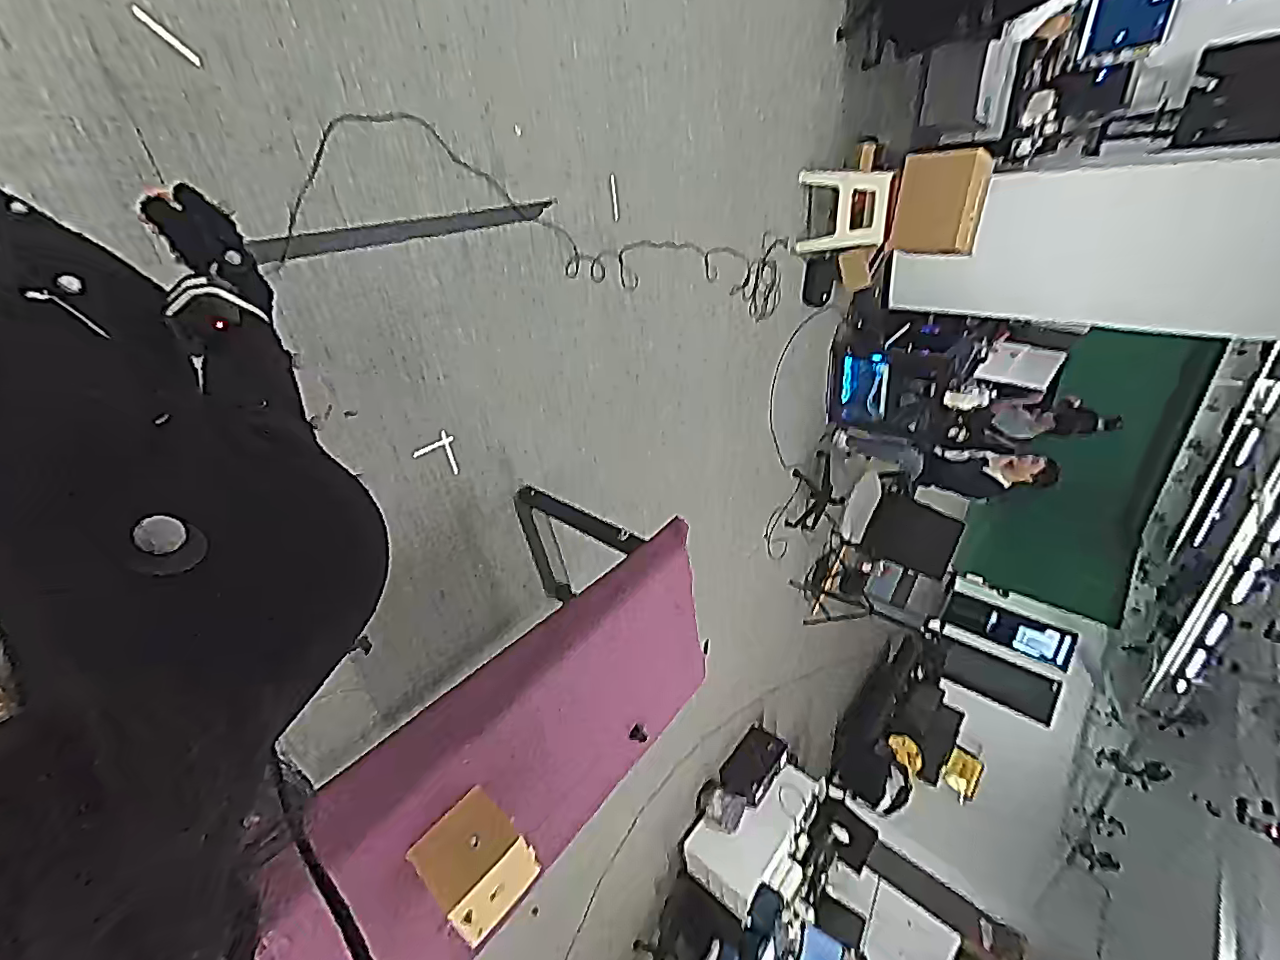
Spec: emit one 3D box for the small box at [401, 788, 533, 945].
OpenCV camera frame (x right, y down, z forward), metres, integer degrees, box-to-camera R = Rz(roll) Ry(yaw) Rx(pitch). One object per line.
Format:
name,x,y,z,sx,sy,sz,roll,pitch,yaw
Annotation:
small box,-0.356,0.791,1.124,0.179,0.176,0.168,-37,132,-36
